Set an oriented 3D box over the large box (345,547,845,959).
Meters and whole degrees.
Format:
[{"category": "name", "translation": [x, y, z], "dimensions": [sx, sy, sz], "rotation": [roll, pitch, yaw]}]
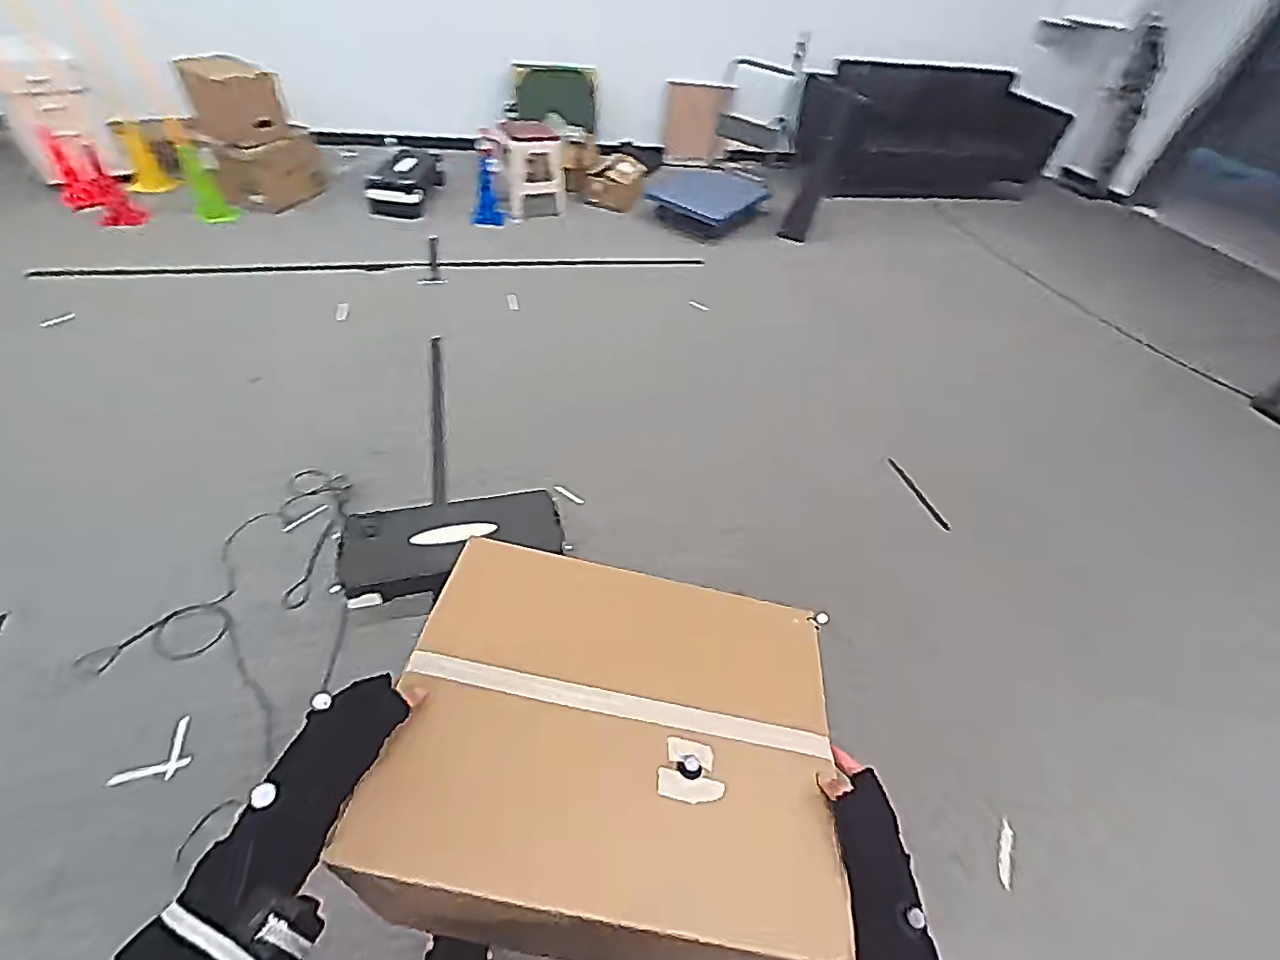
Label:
[{"category": "large box", "translation": [-0.043, 0.324, 0.622], "dimensions": [0.408, 0.320, 0.320], "rotation": [13, 43, -2]}]
